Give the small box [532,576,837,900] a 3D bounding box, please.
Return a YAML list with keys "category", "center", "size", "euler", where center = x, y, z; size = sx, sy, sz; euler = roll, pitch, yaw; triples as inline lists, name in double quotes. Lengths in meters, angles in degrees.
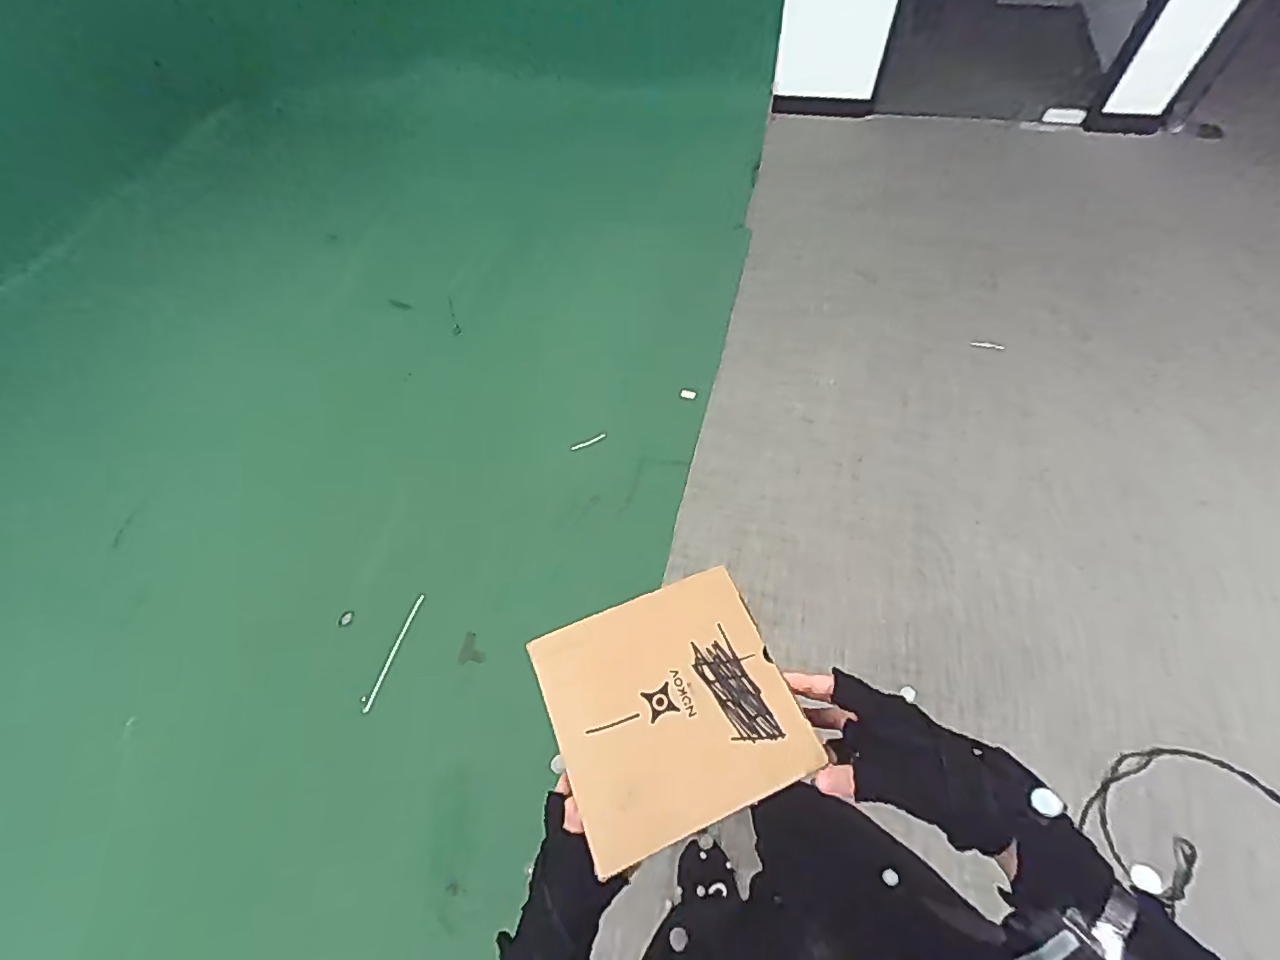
- category: "small box"
  center: [0.025, 0.210, 0.455]
  size: [0.179, 0.176, 0.168]
  euler: [-20, 59, -12]
